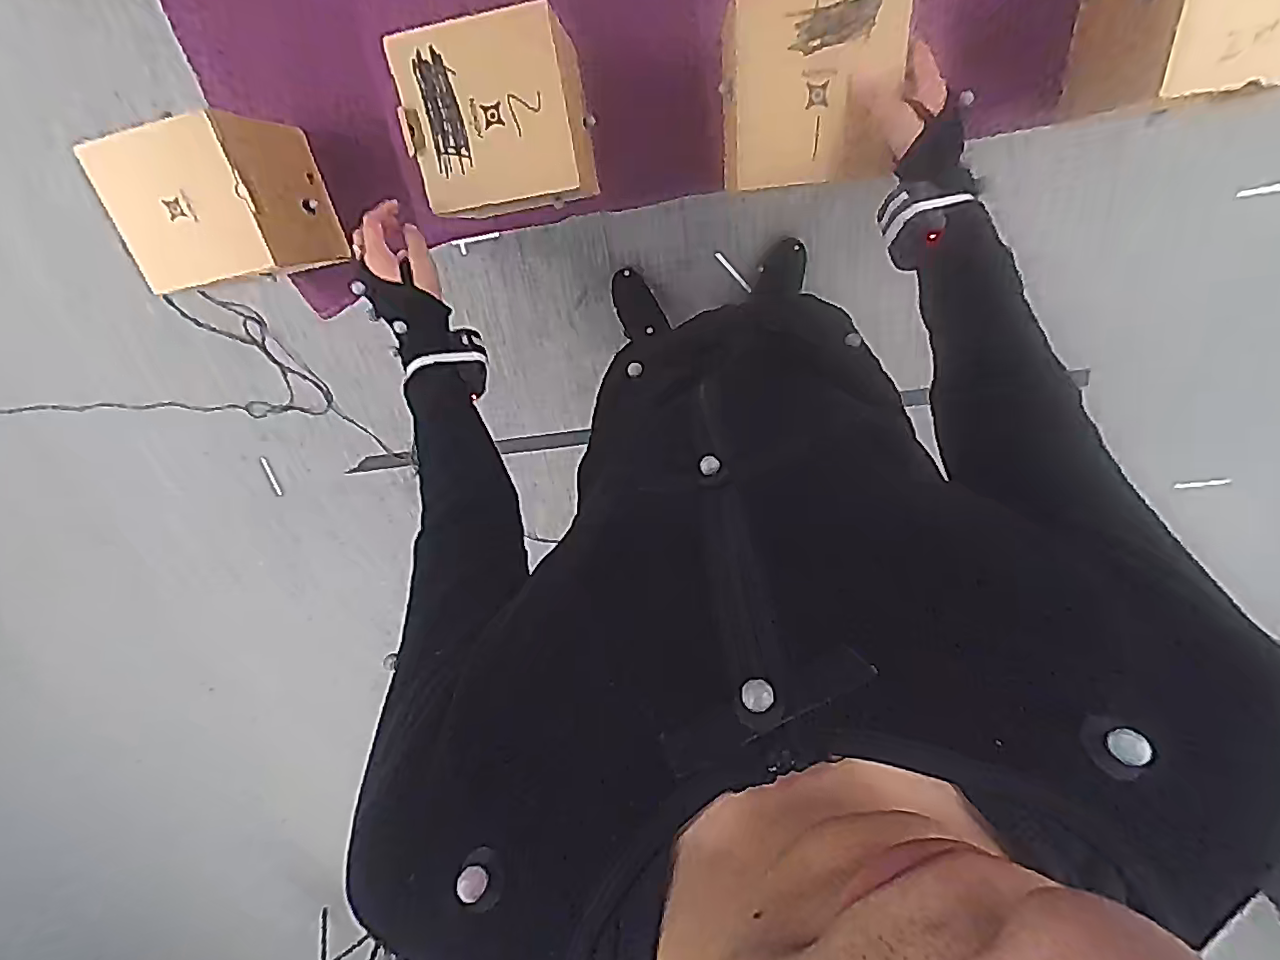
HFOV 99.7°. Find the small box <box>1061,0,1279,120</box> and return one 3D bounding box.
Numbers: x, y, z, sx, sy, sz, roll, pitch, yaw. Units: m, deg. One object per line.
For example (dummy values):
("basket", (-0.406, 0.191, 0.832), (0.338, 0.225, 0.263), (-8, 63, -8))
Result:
("small box", (0.574, -0.487, 0.546), (0.168, 0.176, 0.179), (-2, 115, 6))

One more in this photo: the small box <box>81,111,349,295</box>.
("small box", (-0.526, -0.348, 0.700), (0.179, 0.176, 0.168), (-10, 115, 8))

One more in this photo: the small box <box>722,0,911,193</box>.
("small box", (0.181, -0.430, 0.606), (0.168, 0.176, 0.179), (-3, 117, 6))
